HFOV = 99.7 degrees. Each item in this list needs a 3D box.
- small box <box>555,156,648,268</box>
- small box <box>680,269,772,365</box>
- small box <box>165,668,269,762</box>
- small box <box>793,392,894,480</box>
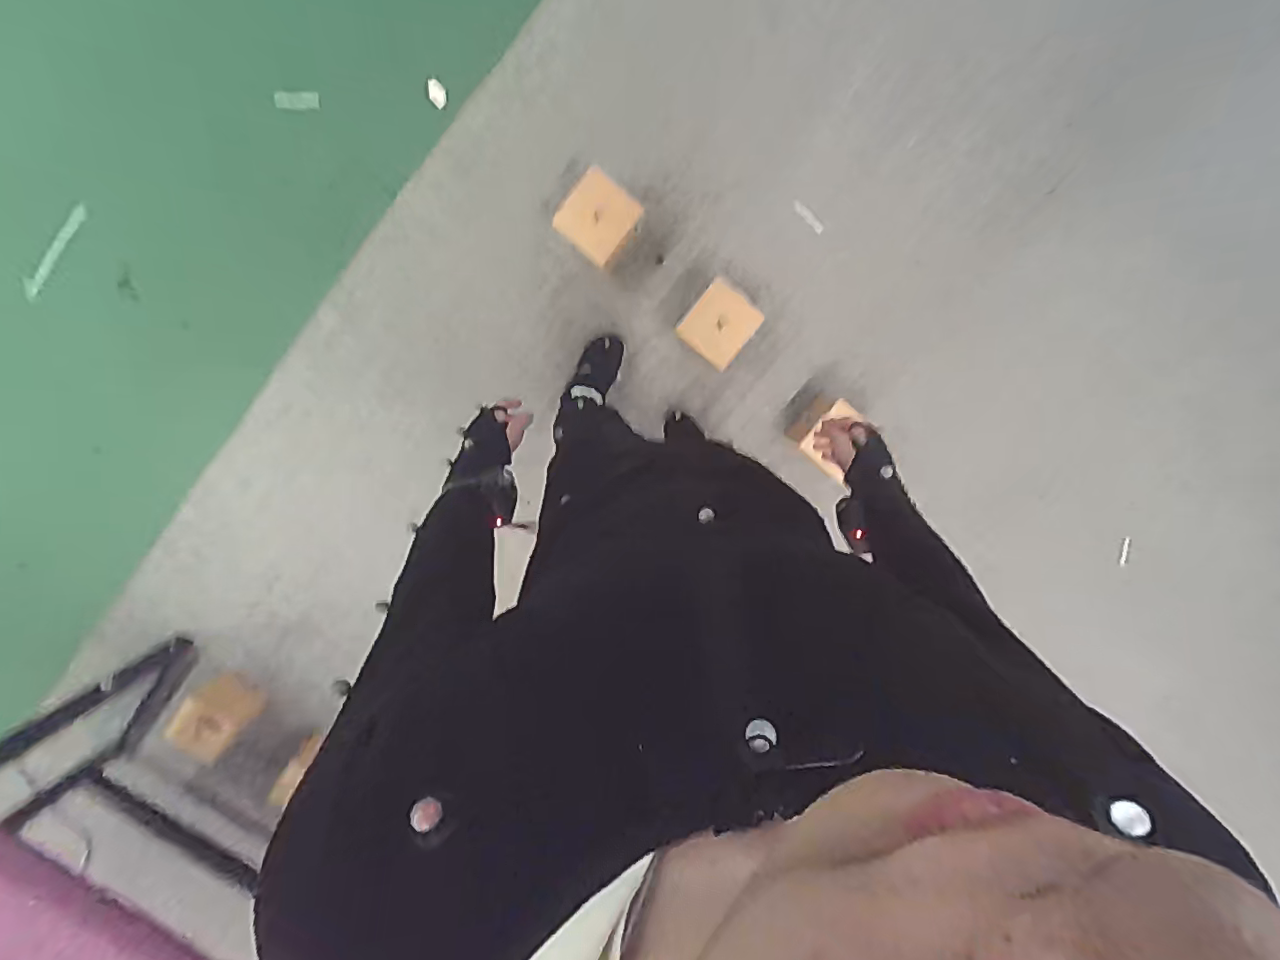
[{"bbox_3d":[-0.091,-0.675,1.388,0.168,0.176,0.179,39,99,-7],"label":"small box"},{"bbox_3d":[0.218,-0.426,1.437,0.168,0.176,0.179,39,100,-7],"label":"small box"},{"bbox_3d":[-1.327,0.736,1.711,0.168,0.176,0.179,36,101,-6],"label":"small box"},{"bbox_3d":[0.551,-0.126,1.496,0.179,0.176,0.168,40,100,-6],"label":"small box"}]
